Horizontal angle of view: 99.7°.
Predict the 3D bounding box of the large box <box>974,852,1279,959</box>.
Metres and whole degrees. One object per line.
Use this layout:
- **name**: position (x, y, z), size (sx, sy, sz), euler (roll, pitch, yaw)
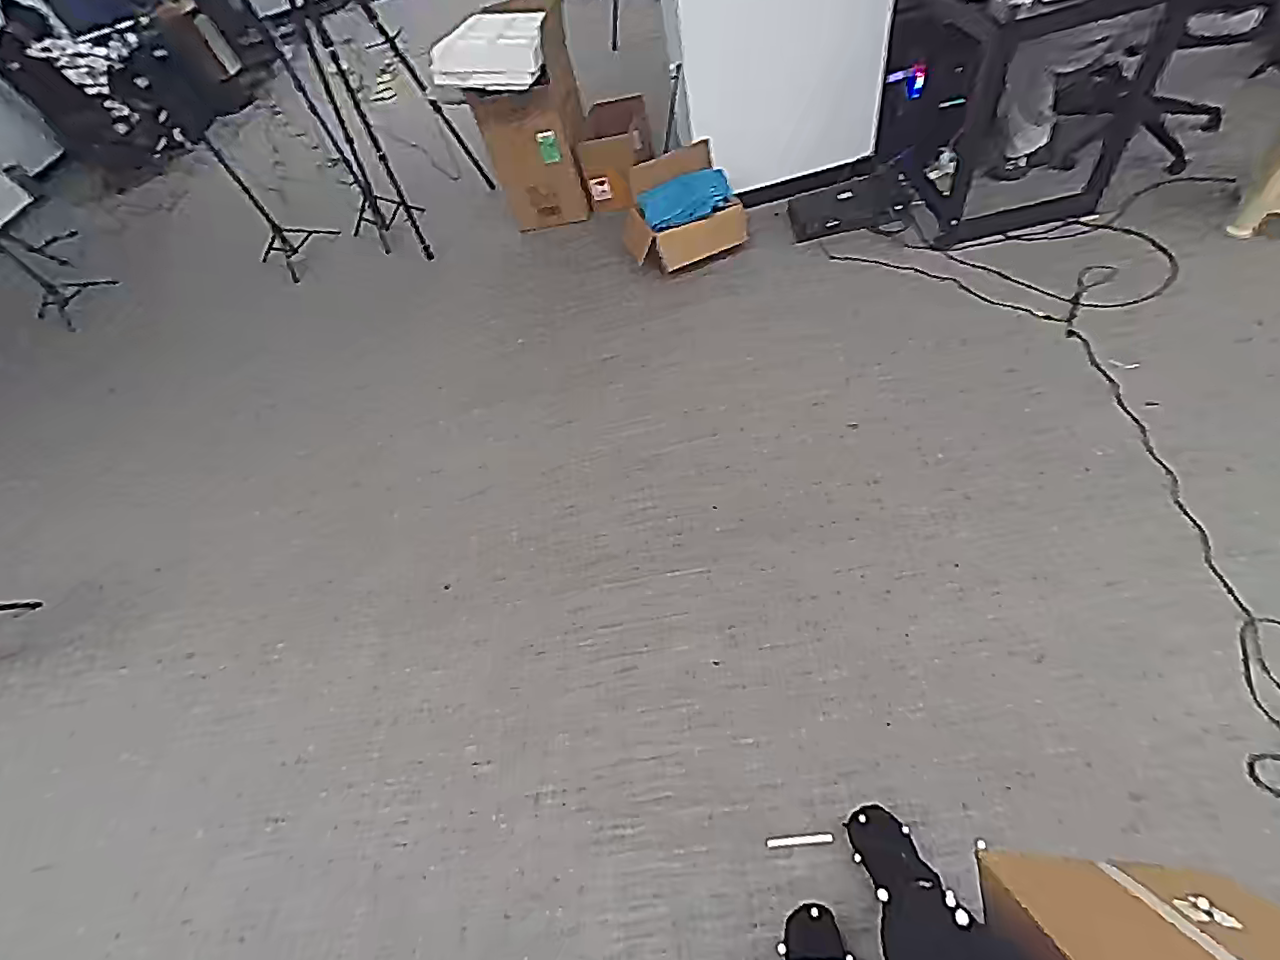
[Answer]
- **large box**: position (0.617, 0.660, 0.567), size (0.320, 0.408, 0.320), euler (-1, 77, 11)
